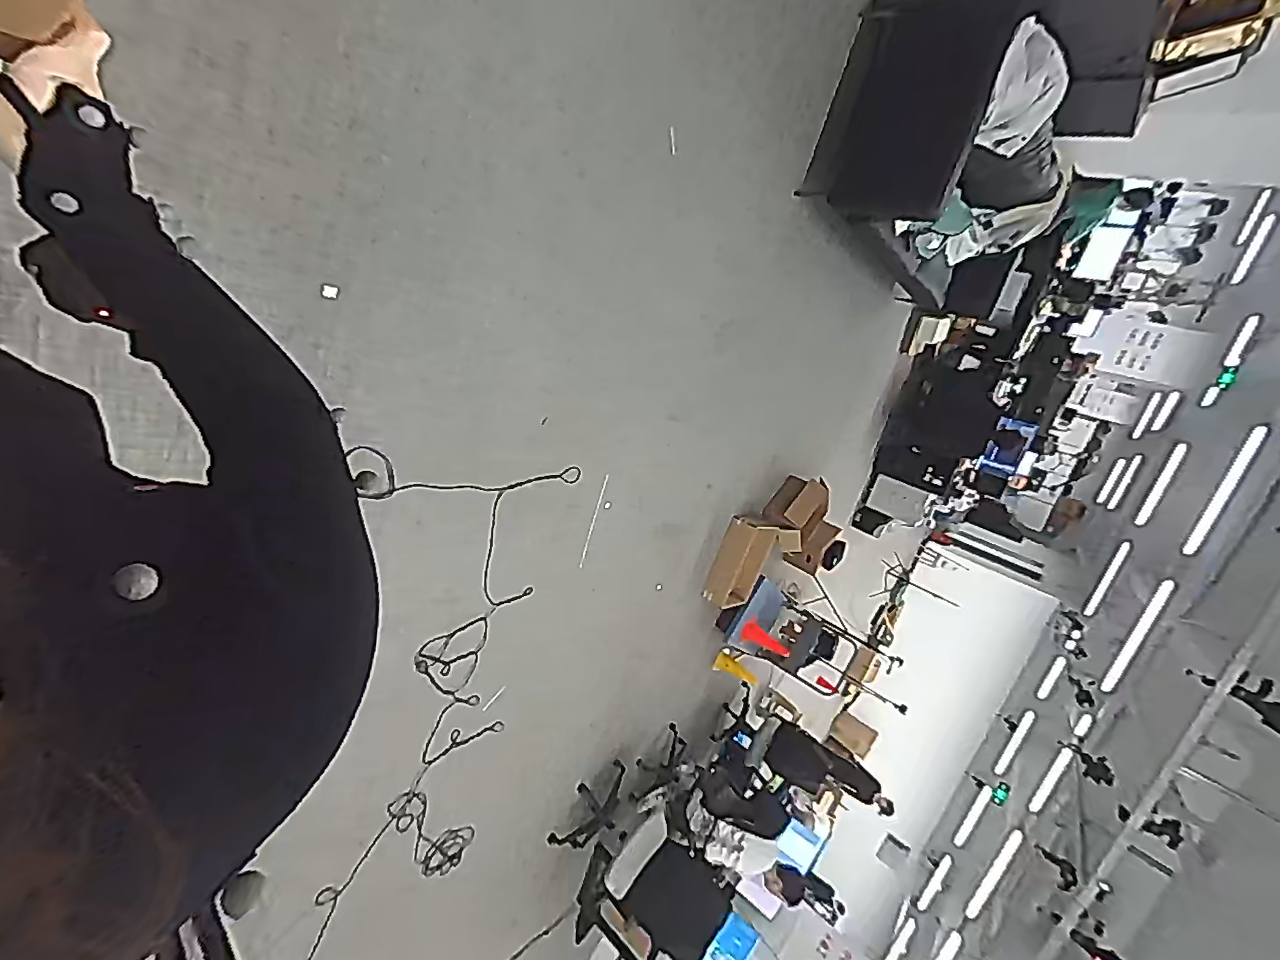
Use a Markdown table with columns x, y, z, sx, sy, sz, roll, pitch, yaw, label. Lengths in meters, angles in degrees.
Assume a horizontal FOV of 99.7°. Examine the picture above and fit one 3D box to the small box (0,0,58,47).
| x | y | z | sx | sy | sz | roll | pitch | yaw | label |
| --- | --- | --- | --- | --- | --- | --- | --- | --- | --- |
| -0.404 | -0.368 | 0.269 | 0.179 | 0.176 | 0.168 | 11 | 92 | -58 | small box |
